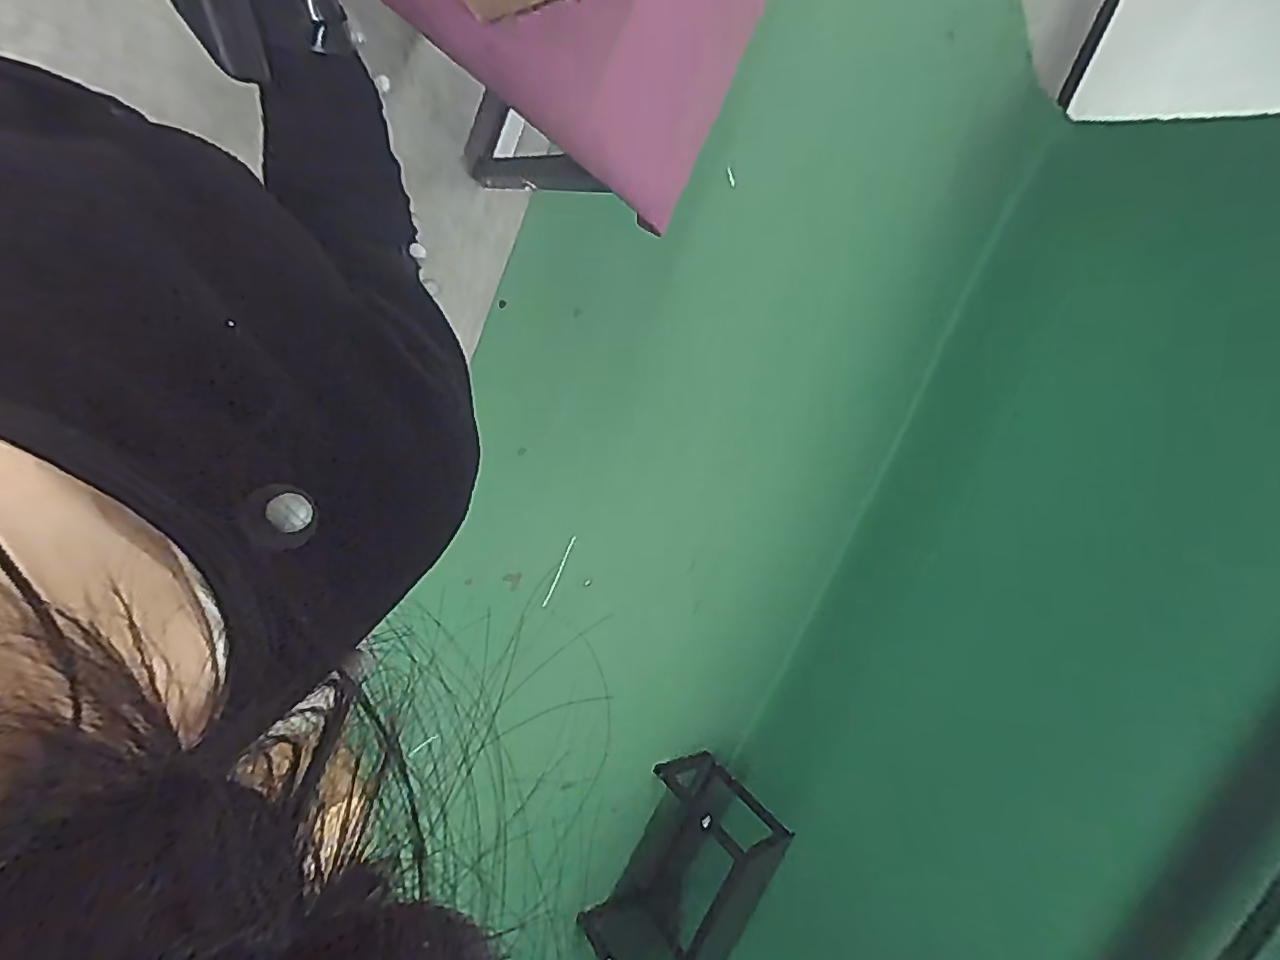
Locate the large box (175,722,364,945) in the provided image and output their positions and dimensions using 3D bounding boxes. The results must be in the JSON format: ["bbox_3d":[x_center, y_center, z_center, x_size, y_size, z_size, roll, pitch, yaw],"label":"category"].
[{"bbox_3d":[-1.071,0.989,1.572,0.408,0.320,0.320,-4,116,-43],"label":"large box"}]
